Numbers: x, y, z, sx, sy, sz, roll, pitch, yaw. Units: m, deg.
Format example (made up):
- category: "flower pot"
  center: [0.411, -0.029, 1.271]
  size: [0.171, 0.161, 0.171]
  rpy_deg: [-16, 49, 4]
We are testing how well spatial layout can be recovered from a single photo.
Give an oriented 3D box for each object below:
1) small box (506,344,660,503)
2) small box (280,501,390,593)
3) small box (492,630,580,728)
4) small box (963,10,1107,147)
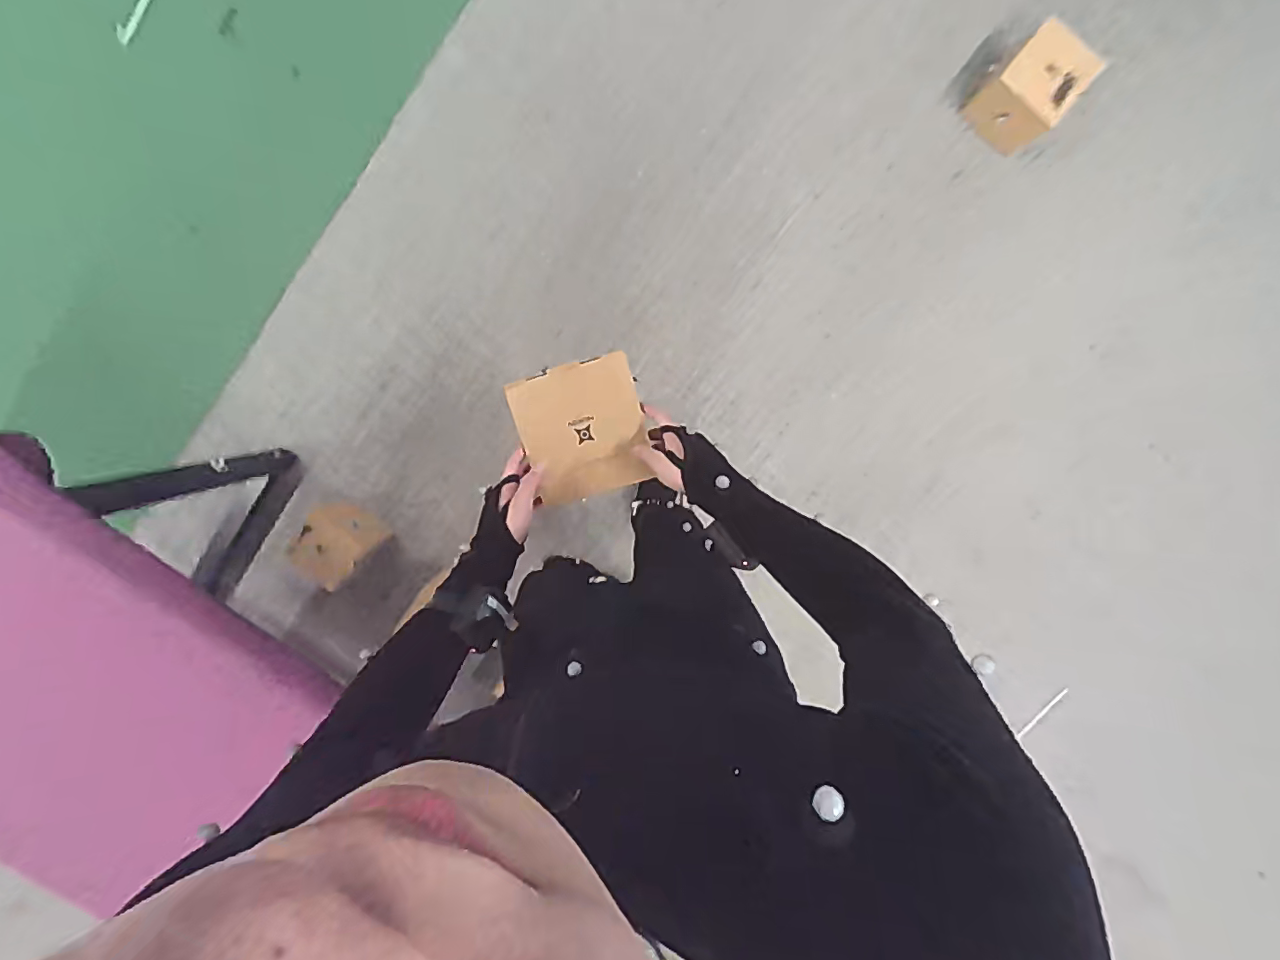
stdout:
- category: "small box"
  center: [-0.075, -0.086, 0.775]
  size: [0.168, 0.176, 0.179]
  rpy_deg: [-15, 103, 3]
- category: "small box"
  center: [-0.843, 0.179, 1.517]
  size: [0.179, 0.176, 0.168]
  rpy_deg: [39, 98, -6]
- category: "small box"
  center: [-0.294, 0.570, 1.577]
  size: [0.179, 0.176, 0.168]
  rpy_deg: [36, 99, -5]
- category: "small box"
  center: [0.925, -0.934, 1.284]
  size: [0.179, 0.176, 0.168]
  rpy_deg: [37, 98, -5]
